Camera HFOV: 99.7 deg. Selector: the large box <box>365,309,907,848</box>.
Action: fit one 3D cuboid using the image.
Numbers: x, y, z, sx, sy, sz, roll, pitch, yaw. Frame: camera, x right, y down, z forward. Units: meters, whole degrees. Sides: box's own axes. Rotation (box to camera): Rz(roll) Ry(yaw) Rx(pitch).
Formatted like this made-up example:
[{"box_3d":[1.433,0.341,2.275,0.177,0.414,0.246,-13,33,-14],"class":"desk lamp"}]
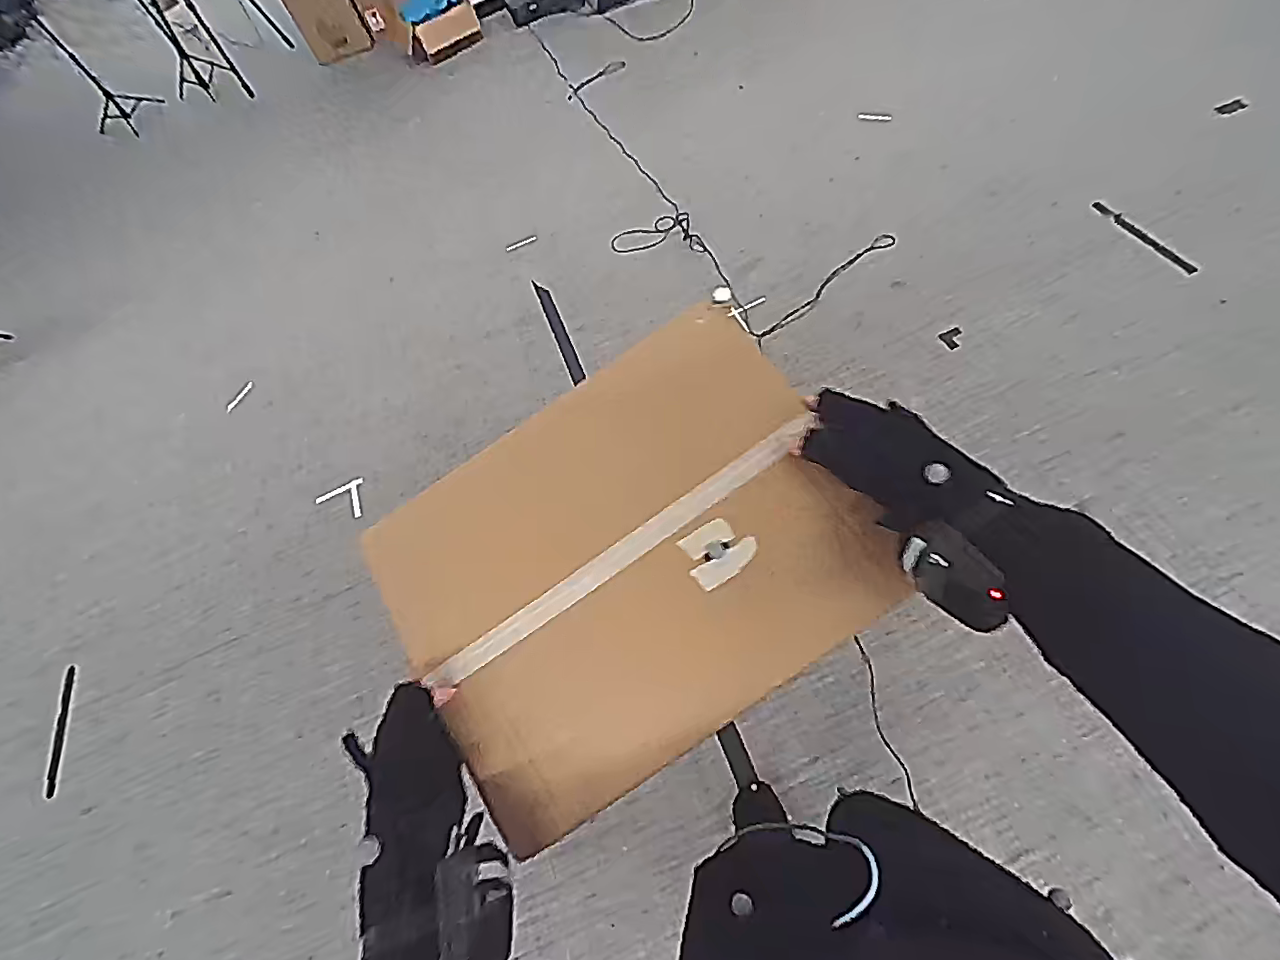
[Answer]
[{"box_3d":[-0.001,0.101,0.623,0.408,0.320,0.320,-36,75,-2],"class":"large box"}]
